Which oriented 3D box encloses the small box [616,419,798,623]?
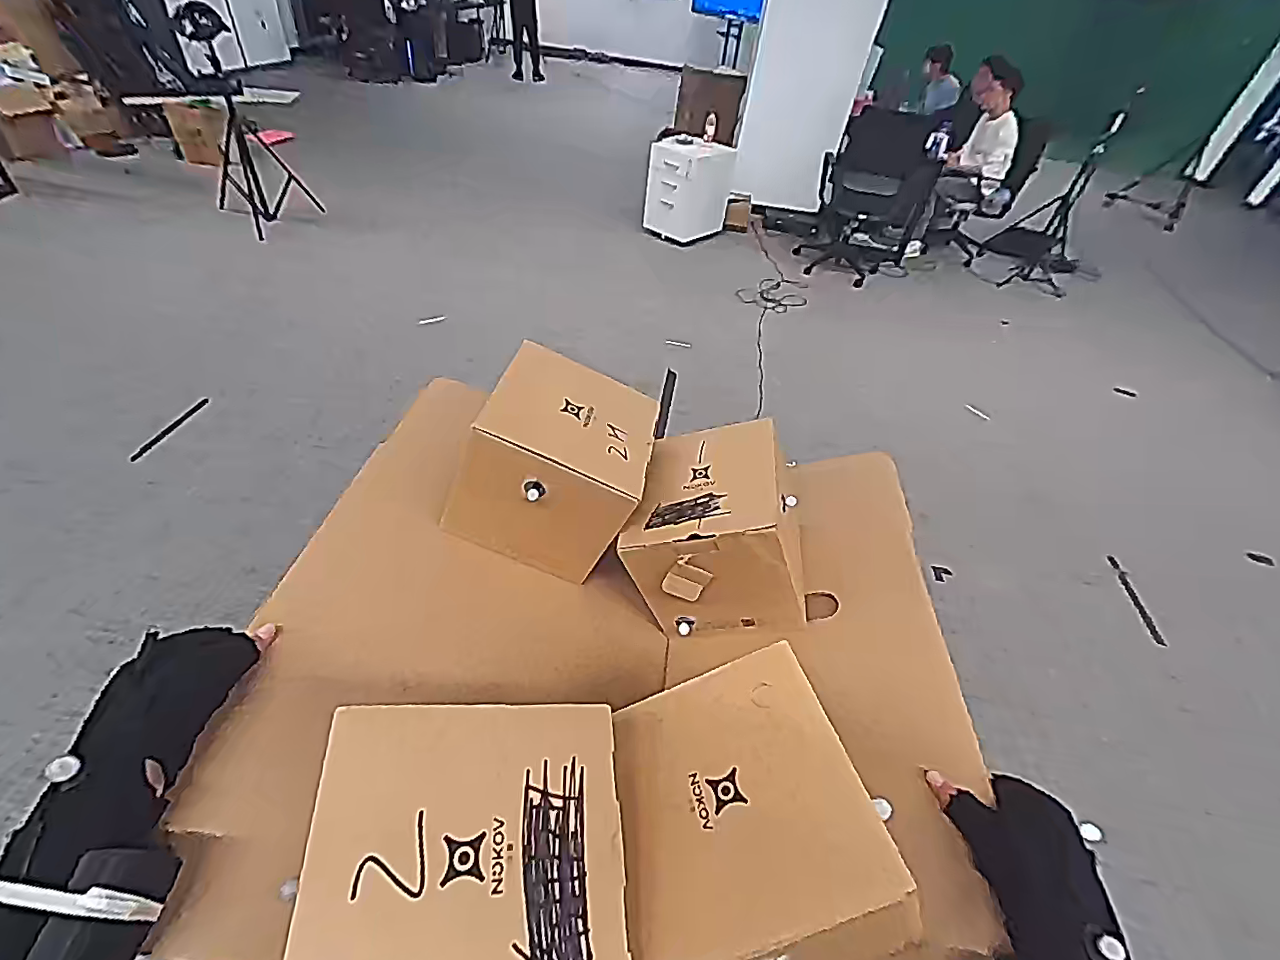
[{"bbox_3d":[0.090,0.057,0.646,0.168,0.176,0.179,-9,39,20],"label":"small box"}]
